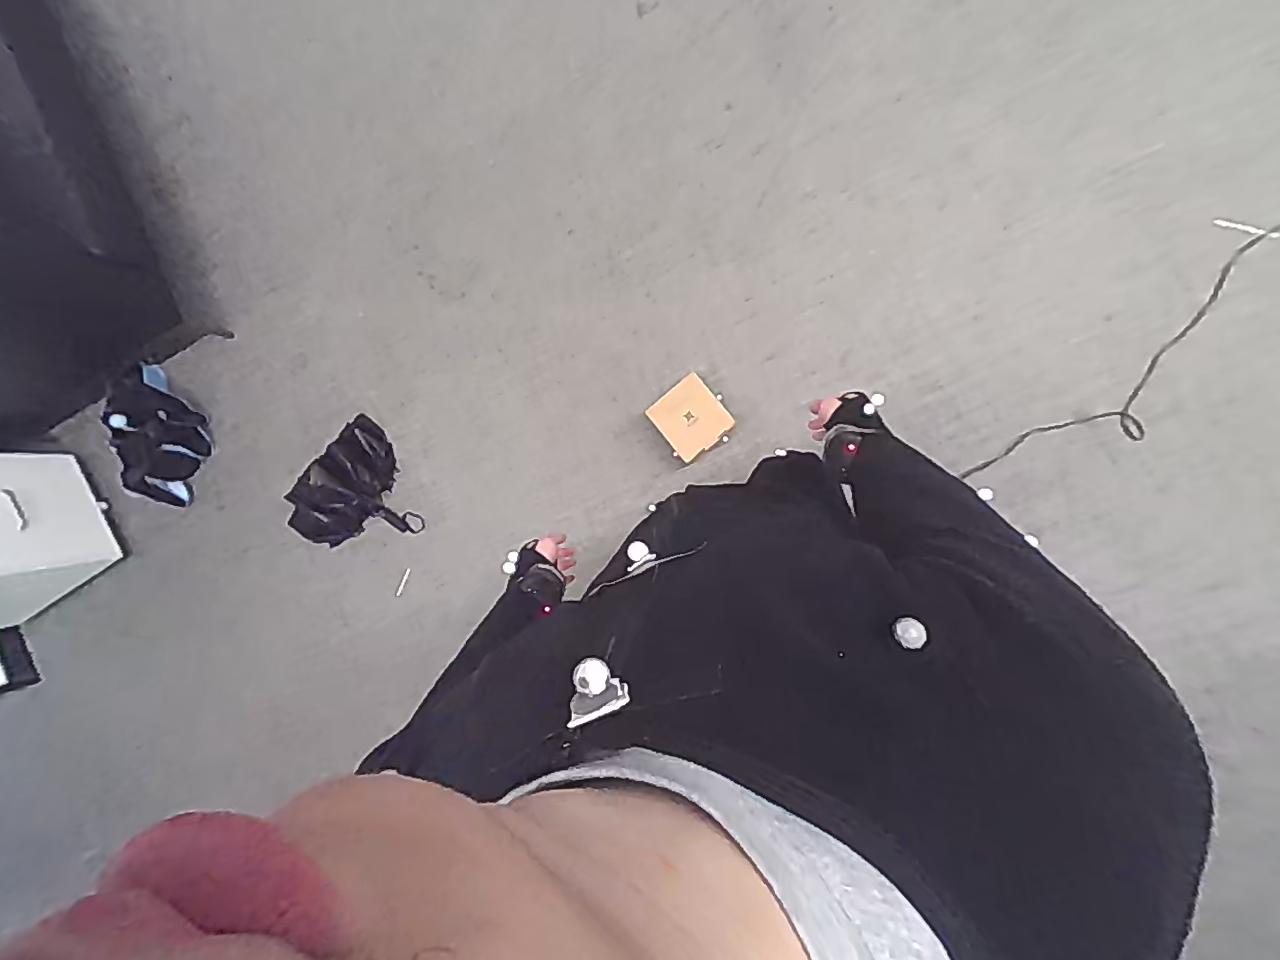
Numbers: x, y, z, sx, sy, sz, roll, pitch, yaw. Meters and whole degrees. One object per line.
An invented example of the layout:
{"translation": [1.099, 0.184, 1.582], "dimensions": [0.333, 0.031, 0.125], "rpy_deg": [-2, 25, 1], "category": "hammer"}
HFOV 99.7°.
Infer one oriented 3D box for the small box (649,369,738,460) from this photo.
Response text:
{"translation": [0.150, -0.171, 1.458], "dimensions": [0.168, 0.176, 0.179], "rpy_deg": [-40, 84, 9], "category": "small box"}
